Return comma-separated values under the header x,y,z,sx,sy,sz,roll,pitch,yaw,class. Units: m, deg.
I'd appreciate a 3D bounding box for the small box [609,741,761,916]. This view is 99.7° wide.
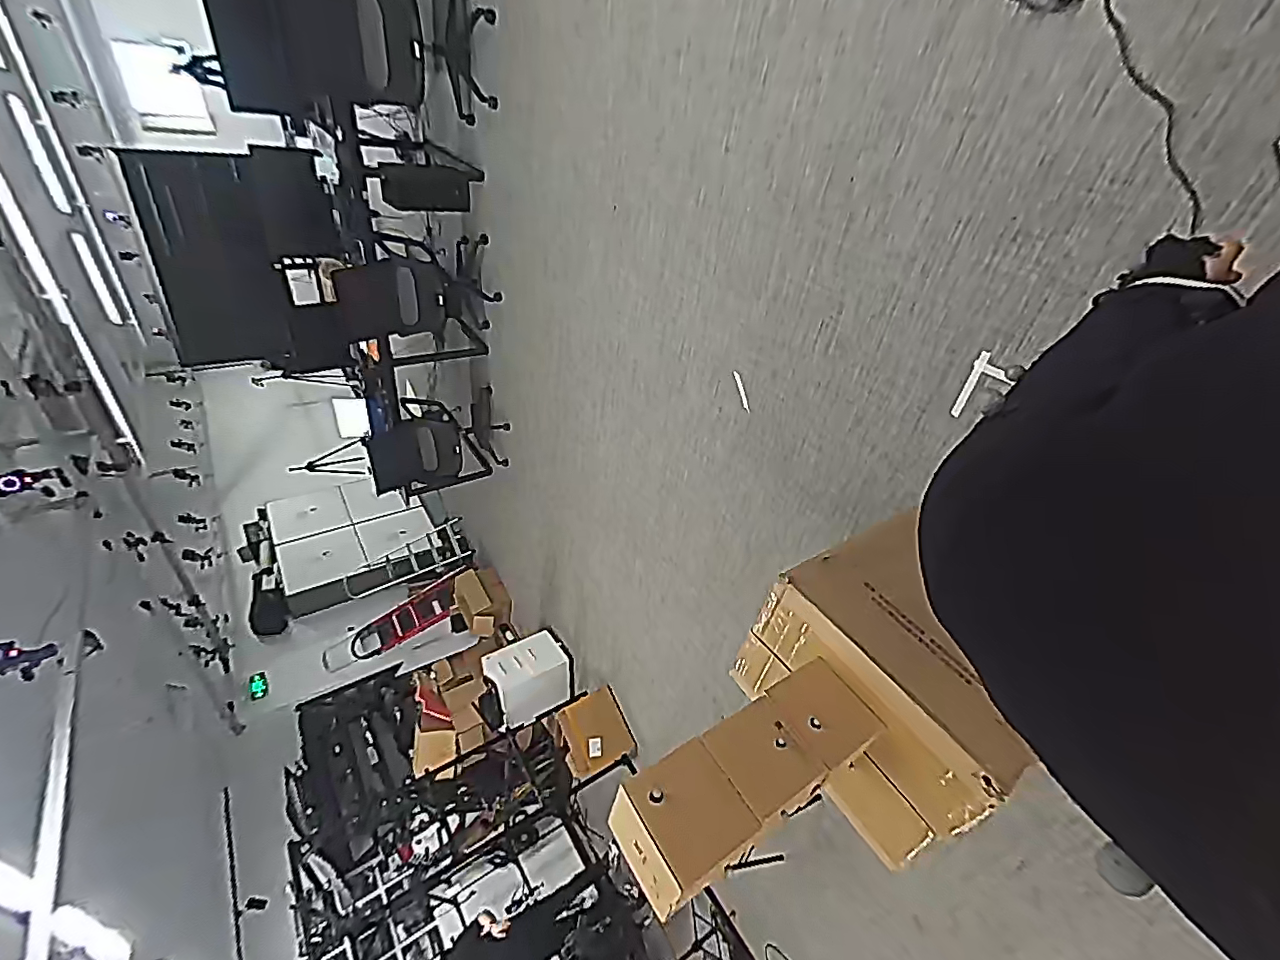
x,y,z,sx,sy,sz,roll,pitch,yaw,class
0.071,0.578,0.919,0.179,0.176,0.168,47,140,37,small box

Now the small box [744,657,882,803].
x,y,z,sx,sy,sz,roll,pitch,yaw,class
0.344,0.492,1.082,0.179,0.176,0.168,48,141,37,small box
